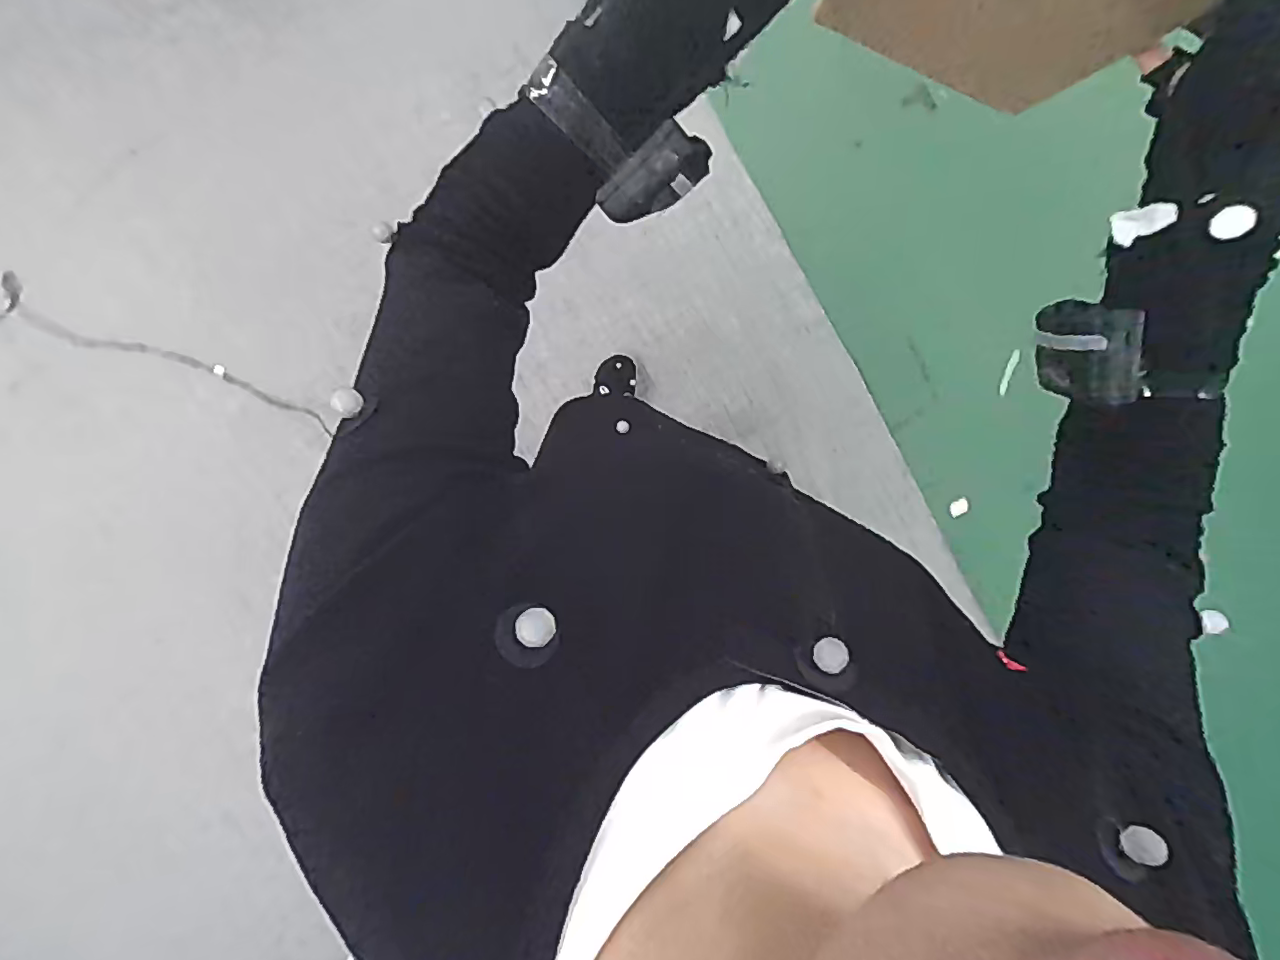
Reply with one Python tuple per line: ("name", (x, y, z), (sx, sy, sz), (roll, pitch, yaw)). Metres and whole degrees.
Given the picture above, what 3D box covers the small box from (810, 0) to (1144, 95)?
("small box", (0.224, -0.363, 0.305), (0.179, 0.176, 0.168), (18, 104, -7))
